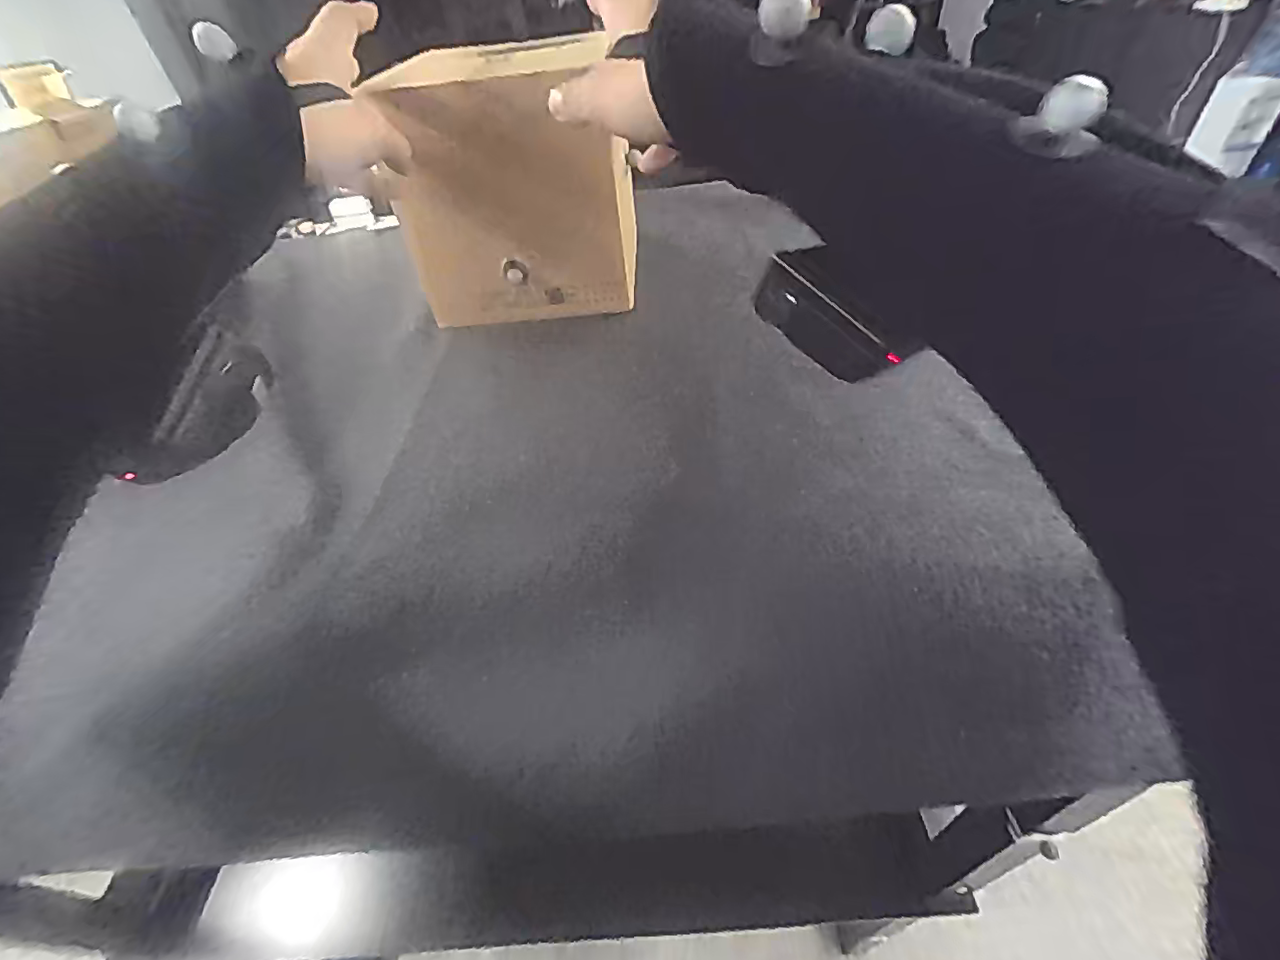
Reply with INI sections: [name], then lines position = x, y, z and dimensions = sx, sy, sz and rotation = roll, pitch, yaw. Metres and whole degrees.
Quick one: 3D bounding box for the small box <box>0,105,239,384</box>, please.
[small box]
position = -0.506, -0.202, 0.470
dimensions = 0.179, 0.176, 0.168
rotation = -8, 44, -1
